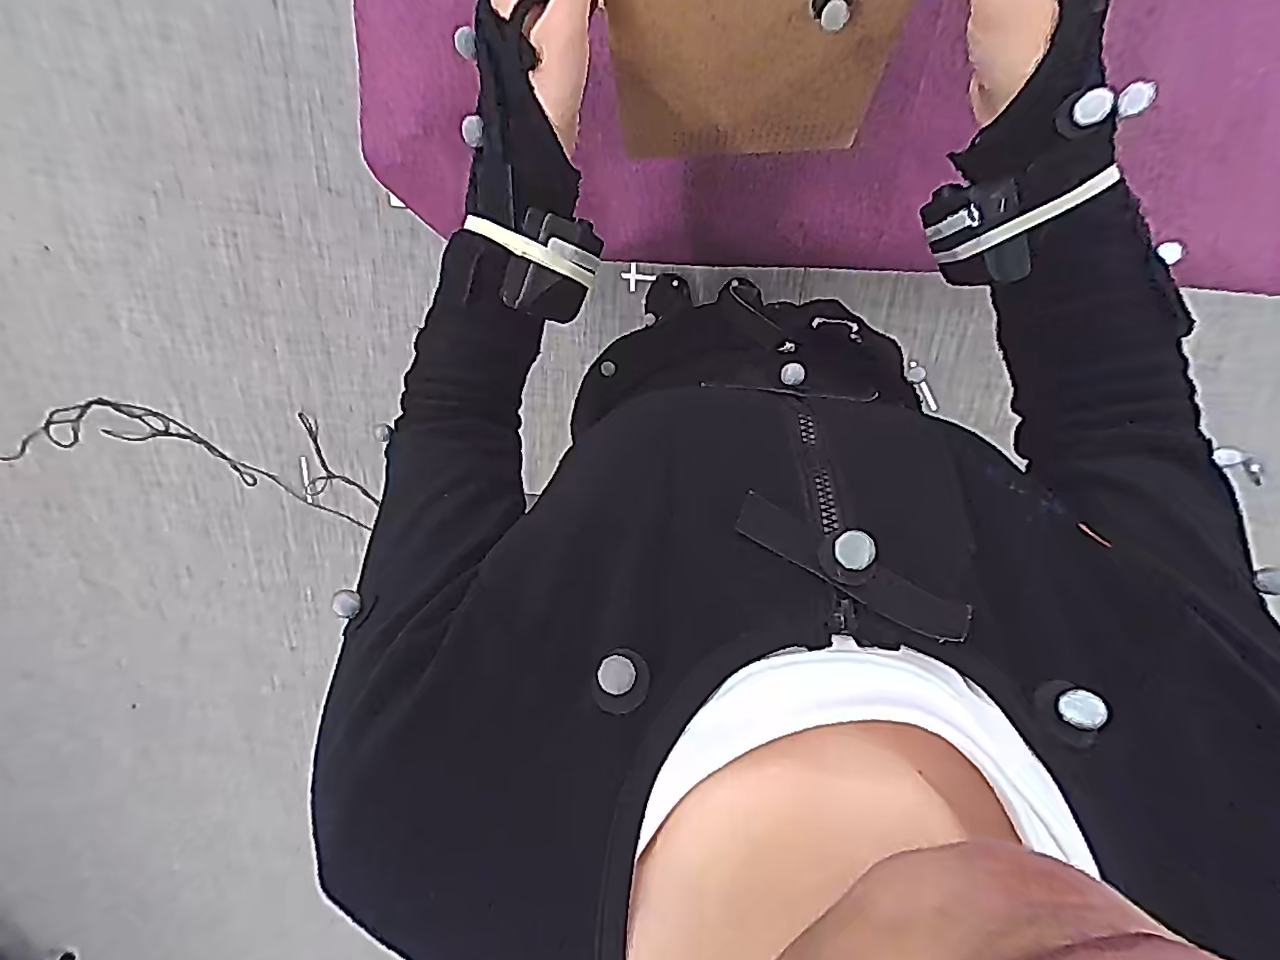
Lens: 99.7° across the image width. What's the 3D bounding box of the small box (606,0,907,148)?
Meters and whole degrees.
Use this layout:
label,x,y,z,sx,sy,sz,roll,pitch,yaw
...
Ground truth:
label,x,y,z,sx,sy,sz,roll,pitch,yaw
small box,0.071,-0.346,0.348,0.179,0.176,0.168,0,86,4
